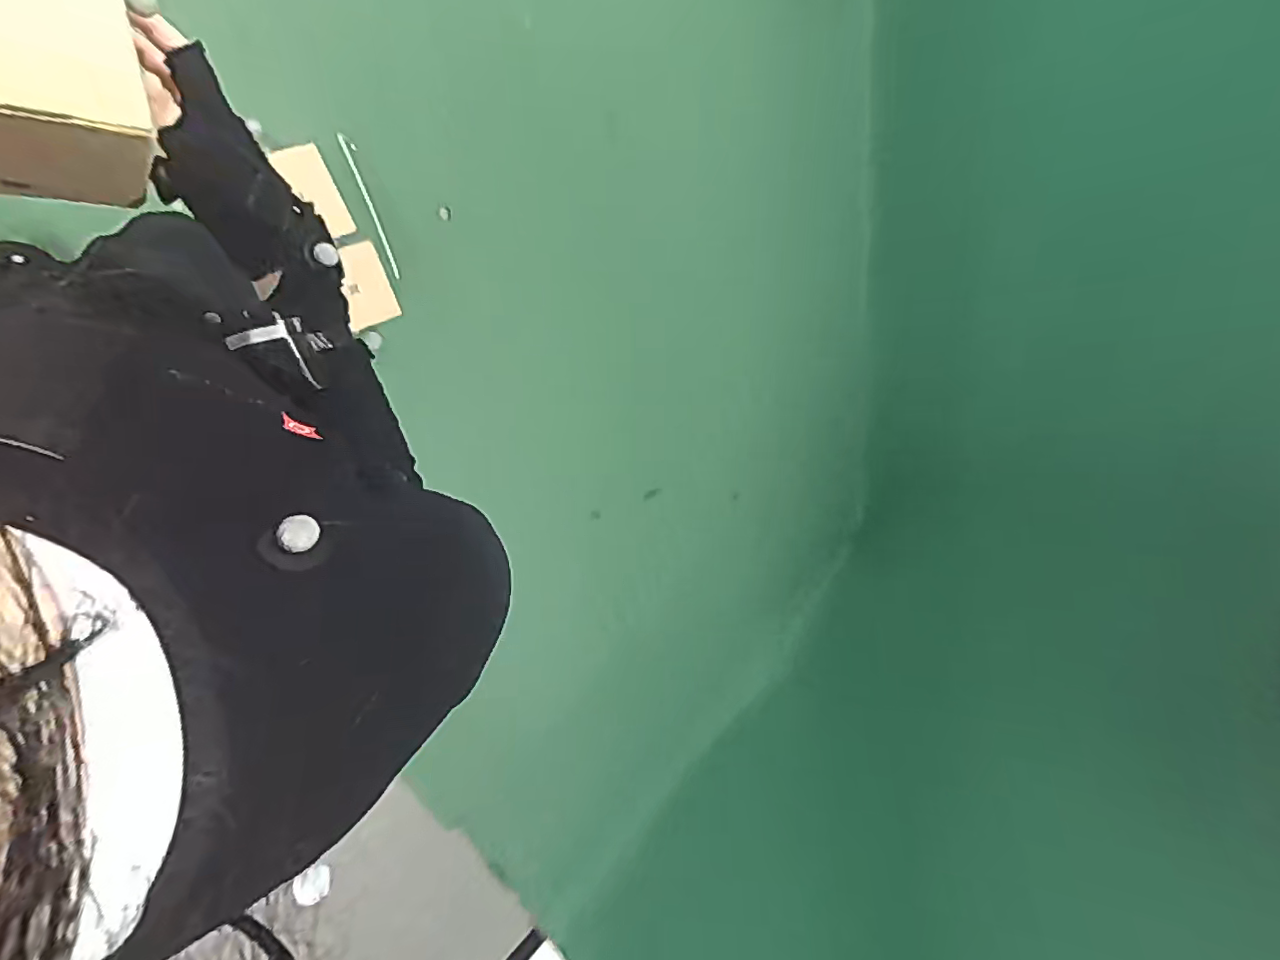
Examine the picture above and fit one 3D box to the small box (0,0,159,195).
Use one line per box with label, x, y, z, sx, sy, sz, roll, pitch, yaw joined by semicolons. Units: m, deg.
small box;-0.365;-0.258;0.259;0.168;0.176;0.179;-17;111;-42
